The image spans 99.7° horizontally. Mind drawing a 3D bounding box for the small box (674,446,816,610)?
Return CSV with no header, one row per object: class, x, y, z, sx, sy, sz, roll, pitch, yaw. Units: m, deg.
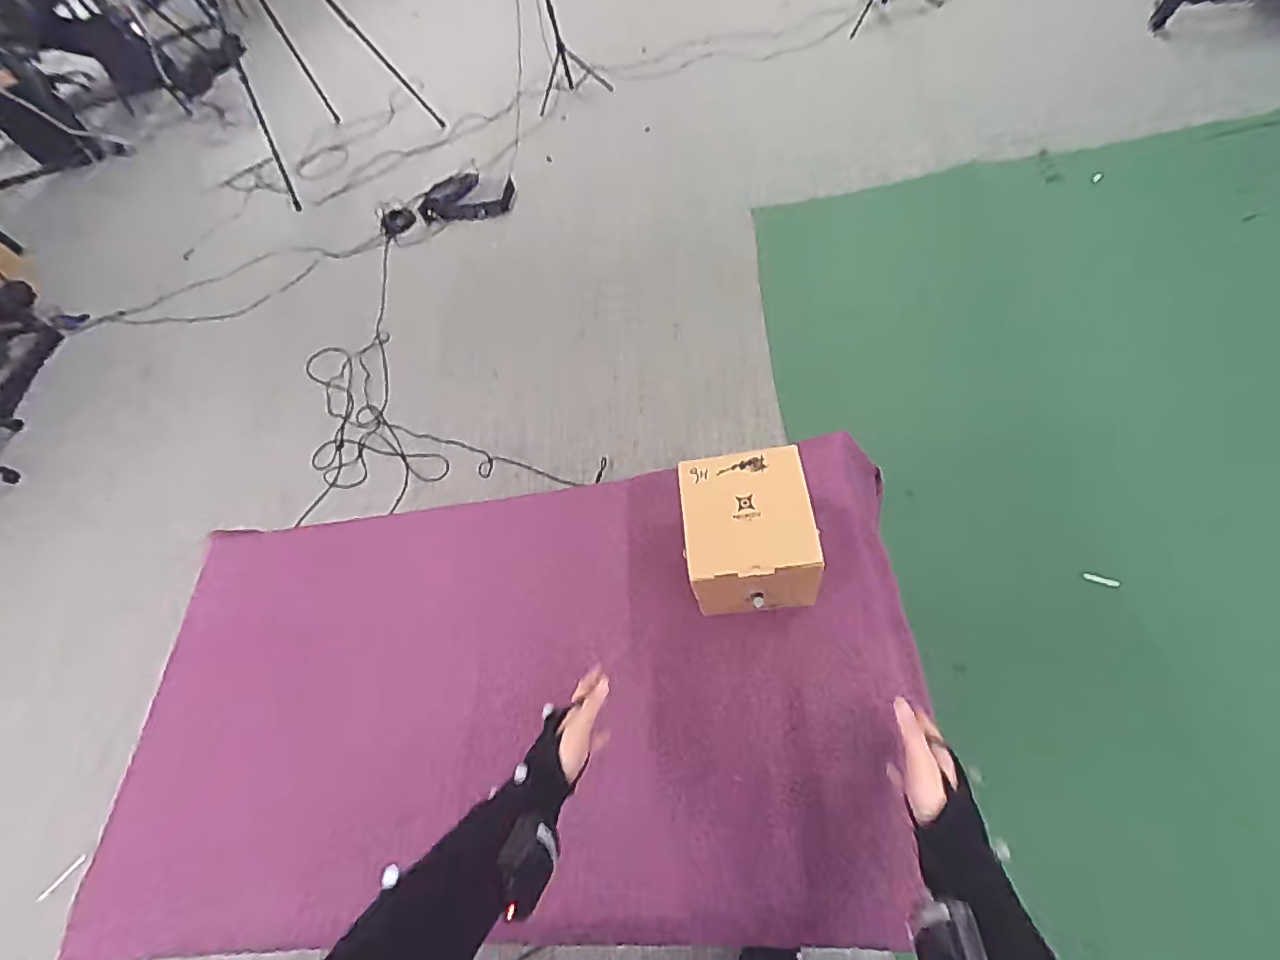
small box,0.148,0.078,0.769,0.168,0.176,0.179,-9,60,9
